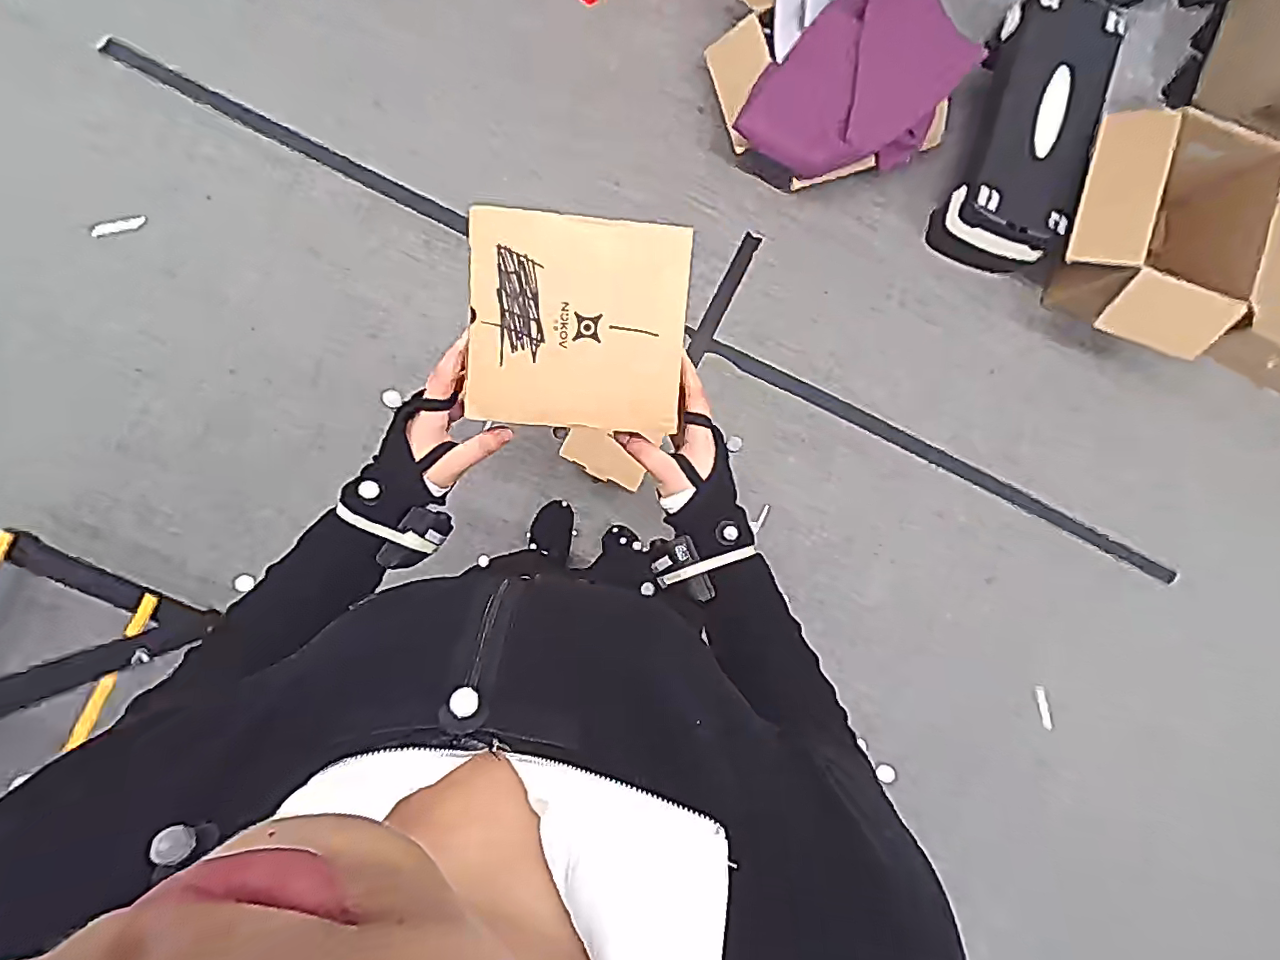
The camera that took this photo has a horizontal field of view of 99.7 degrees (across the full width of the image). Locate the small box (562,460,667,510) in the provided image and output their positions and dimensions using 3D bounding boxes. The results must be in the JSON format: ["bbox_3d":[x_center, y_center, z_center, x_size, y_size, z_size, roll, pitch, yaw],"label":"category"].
[{"bbox_3d":[-0.028,-0.059,1.017,0.168,0.176,0.179,27,88,-3],"label":"small box"}]

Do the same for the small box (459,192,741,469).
[{"bbox_3d":[-0.032,-0.105,0.426,0.179,0.176,0.168,3,100,-5],"label":"small box"}]
